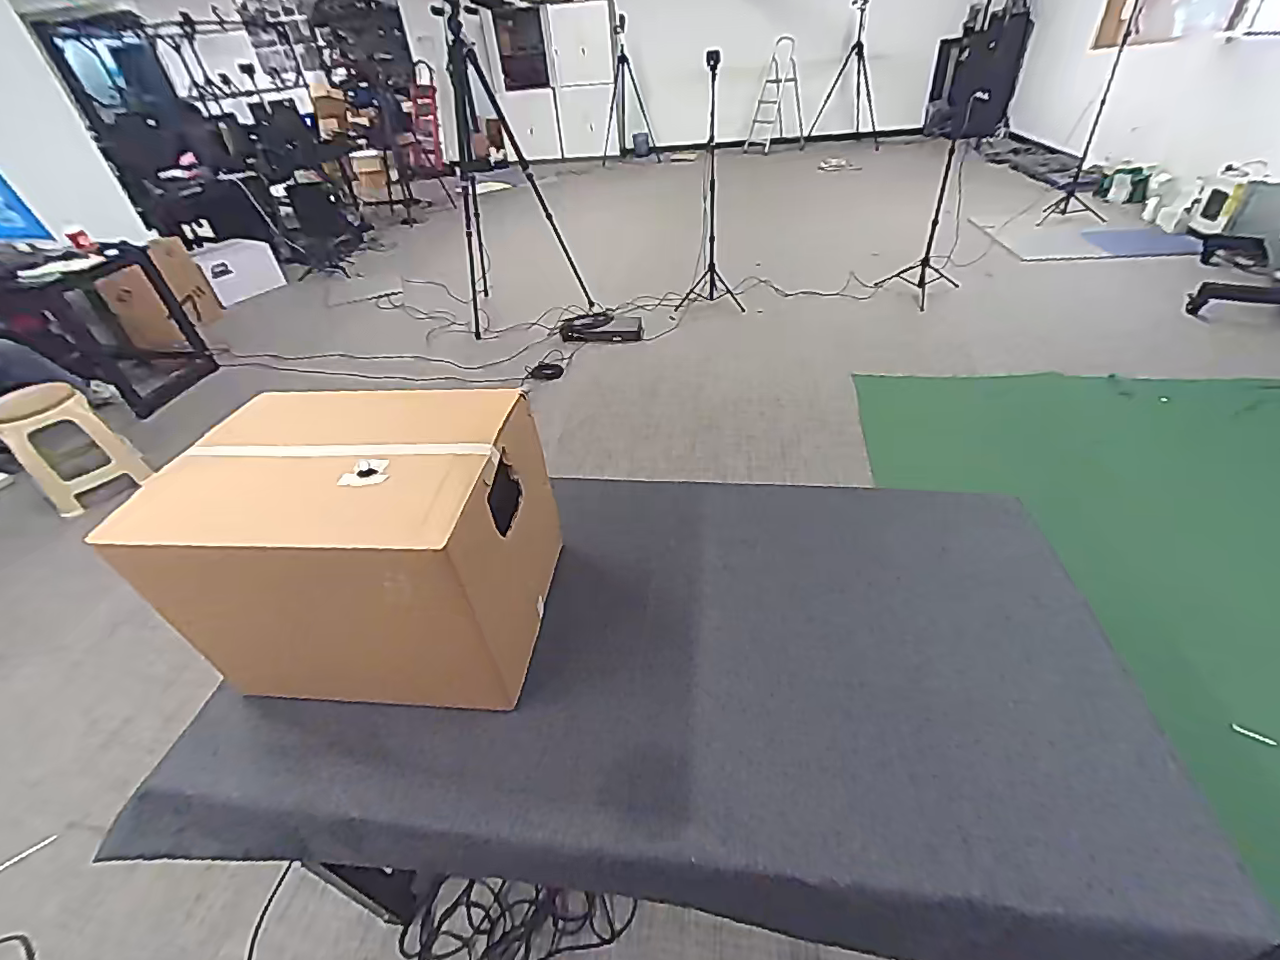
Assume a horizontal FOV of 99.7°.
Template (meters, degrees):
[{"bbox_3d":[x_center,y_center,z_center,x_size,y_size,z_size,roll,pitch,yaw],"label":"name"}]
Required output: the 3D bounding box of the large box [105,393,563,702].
[{"bbox_3d":[-0.350,0.087,0.758,0.408,0.320,0.320,1,40,6],"label":"large box"}]
